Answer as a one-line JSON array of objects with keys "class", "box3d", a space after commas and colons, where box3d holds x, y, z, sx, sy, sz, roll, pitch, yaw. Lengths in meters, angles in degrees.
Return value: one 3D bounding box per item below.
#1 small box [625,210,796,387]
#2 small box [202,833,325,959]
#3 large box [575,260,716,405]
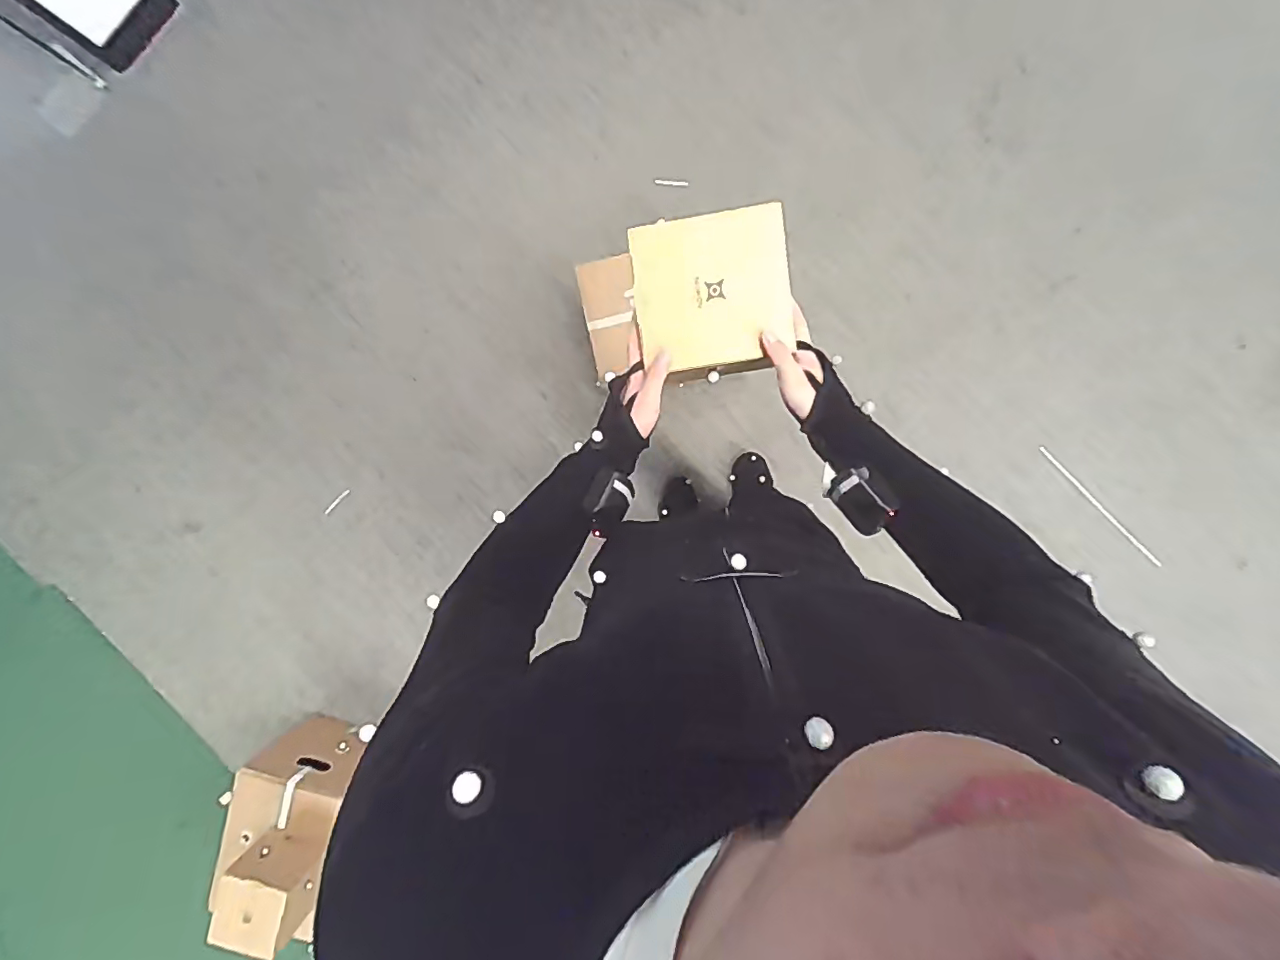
[{"class": "small box", "box3d": [0.086, -0.213, 0.682, 0.179, 0.176, 0.168, -7, 95, 8]}, {"class": "small box", "box3d": [-0.903, 1.010, 1.316, 0.168, 0.176, 0.179, 15, 93, 2]}, {"class": "large box", "box3d": [0.077, -0.409, 1.463, 0.408, 0.320, 0.320, -12, 90, 5]}]
